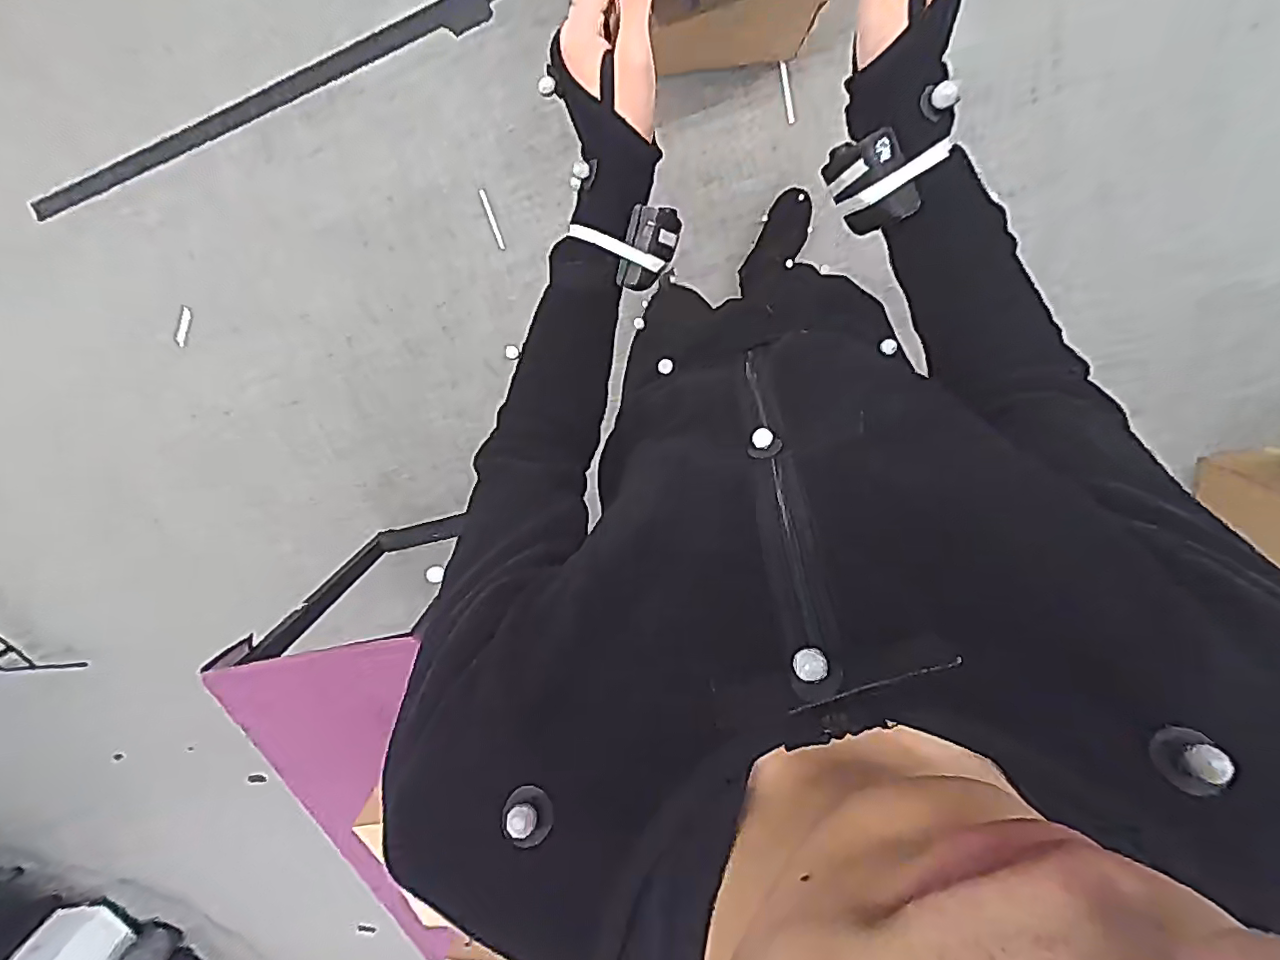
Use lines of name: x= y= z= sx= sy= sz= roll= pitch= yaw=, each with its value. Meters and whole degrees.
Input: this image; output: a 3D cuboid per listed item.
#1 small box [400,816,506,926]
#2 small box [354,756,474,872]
small box: x=-0.451 y=0.966 z=1.345 sx=0.179 sy=0.176 sz=0.168 roll=-10 pitch=113 yaw=12
small box: x=-0.511 y=0.771 z=1.260 sx=0.179 sy=0.176 sz=0.168 roll=-16 pitch=112 yaw=15
